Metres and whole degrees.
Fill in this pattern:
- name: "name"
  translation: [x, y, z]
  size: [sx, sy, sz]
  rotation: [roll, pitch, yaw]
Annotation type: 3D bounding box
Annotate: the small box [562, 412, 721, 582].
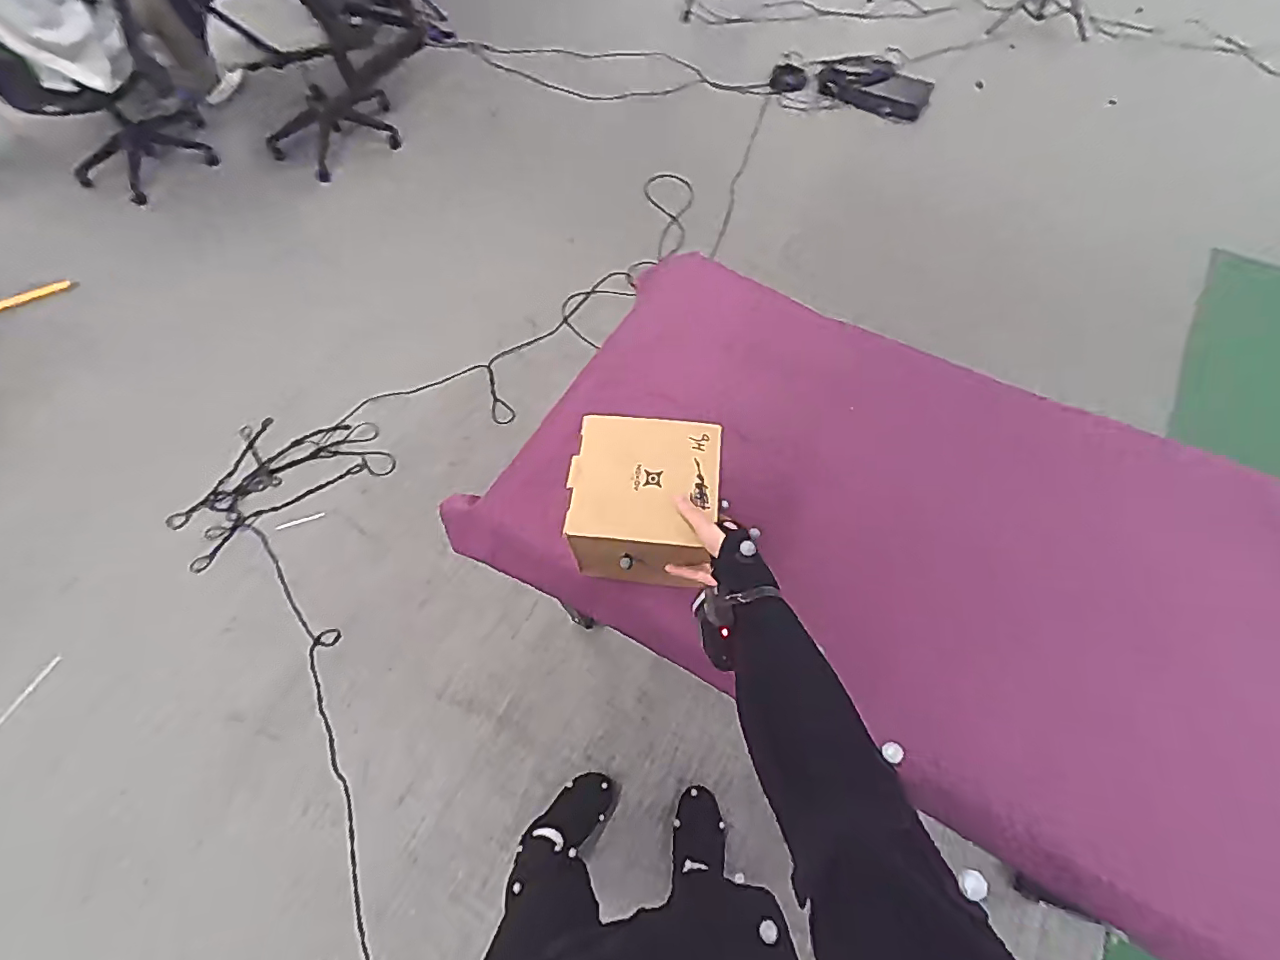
- name: "small box"
  translation: [0.008, 0.029, 0.715]
  size: [0.179, 0.176, 0.168]
  rotation: [5, 64, 4]
